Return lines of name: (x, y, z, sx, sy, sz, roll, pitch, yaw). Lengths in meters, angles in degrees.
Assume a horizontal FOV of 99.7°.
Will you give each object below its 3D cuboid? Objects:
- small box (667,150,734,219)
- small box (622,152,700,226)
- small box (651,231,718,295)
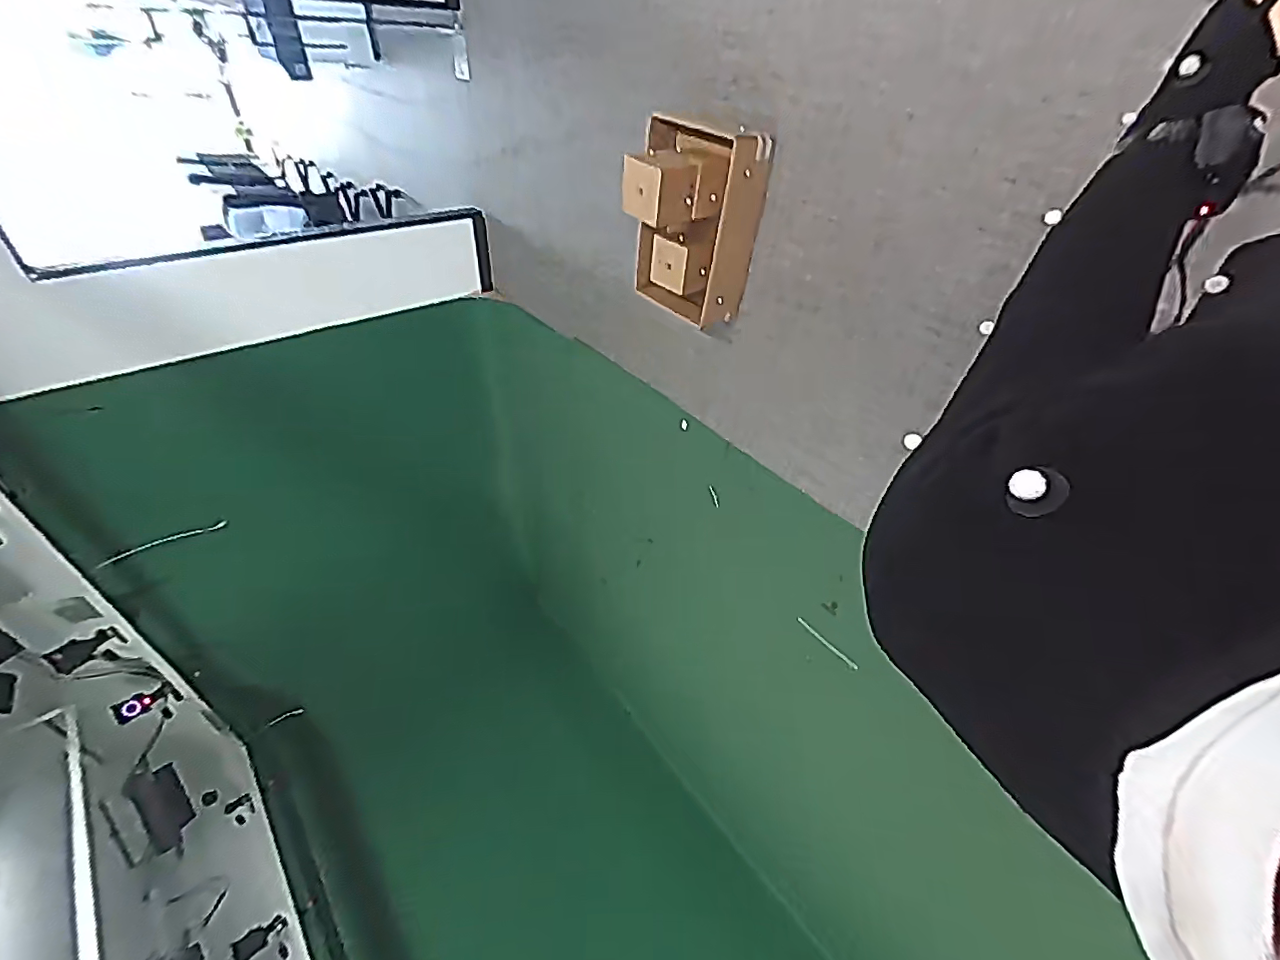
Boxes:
small box: (0.191, -1.000, 1.817, 0.179, 0.176, 0.168, 40, 141, 33)
small box: (0.064, -0.937, 1.733, 0.179, 0.176, 0.168, 41, 143, 30)
small box: (0.165, -0.805, 1.989, 0.179, 0.176, 0.168, 39, 139, 33)
